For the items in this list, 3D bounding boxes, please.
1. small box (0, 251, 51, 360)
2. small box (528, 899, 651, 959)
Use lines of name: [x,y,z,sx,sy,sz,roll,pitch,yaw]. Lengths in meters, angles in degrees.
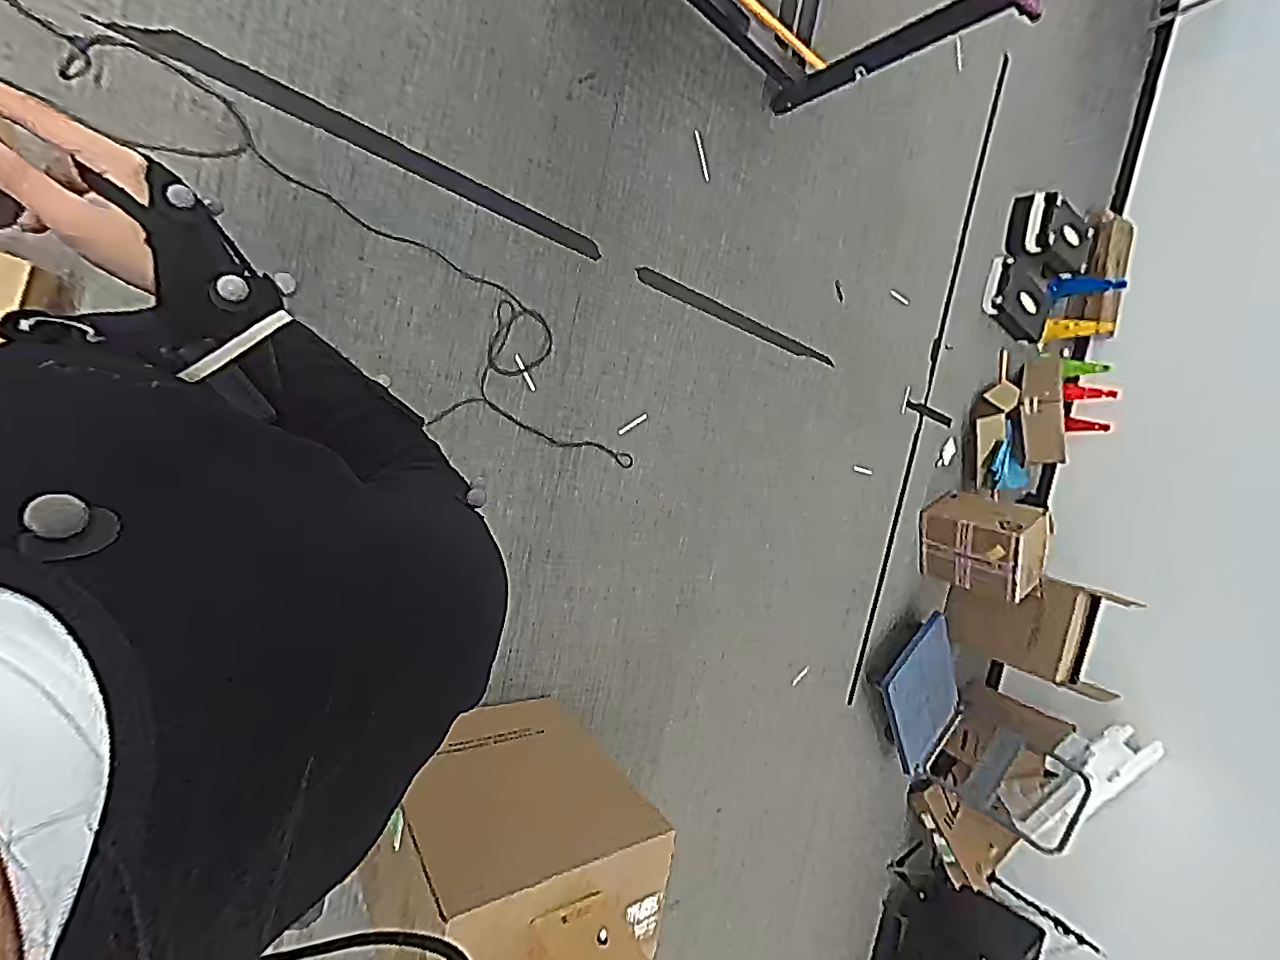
small box: [-1.042,-0.283,0.805,0.179,0.176,0.168,18,89,-40]
small box: [-0.108,0.929,1.002,0.168,0.176,0.179,10,95,-39]
